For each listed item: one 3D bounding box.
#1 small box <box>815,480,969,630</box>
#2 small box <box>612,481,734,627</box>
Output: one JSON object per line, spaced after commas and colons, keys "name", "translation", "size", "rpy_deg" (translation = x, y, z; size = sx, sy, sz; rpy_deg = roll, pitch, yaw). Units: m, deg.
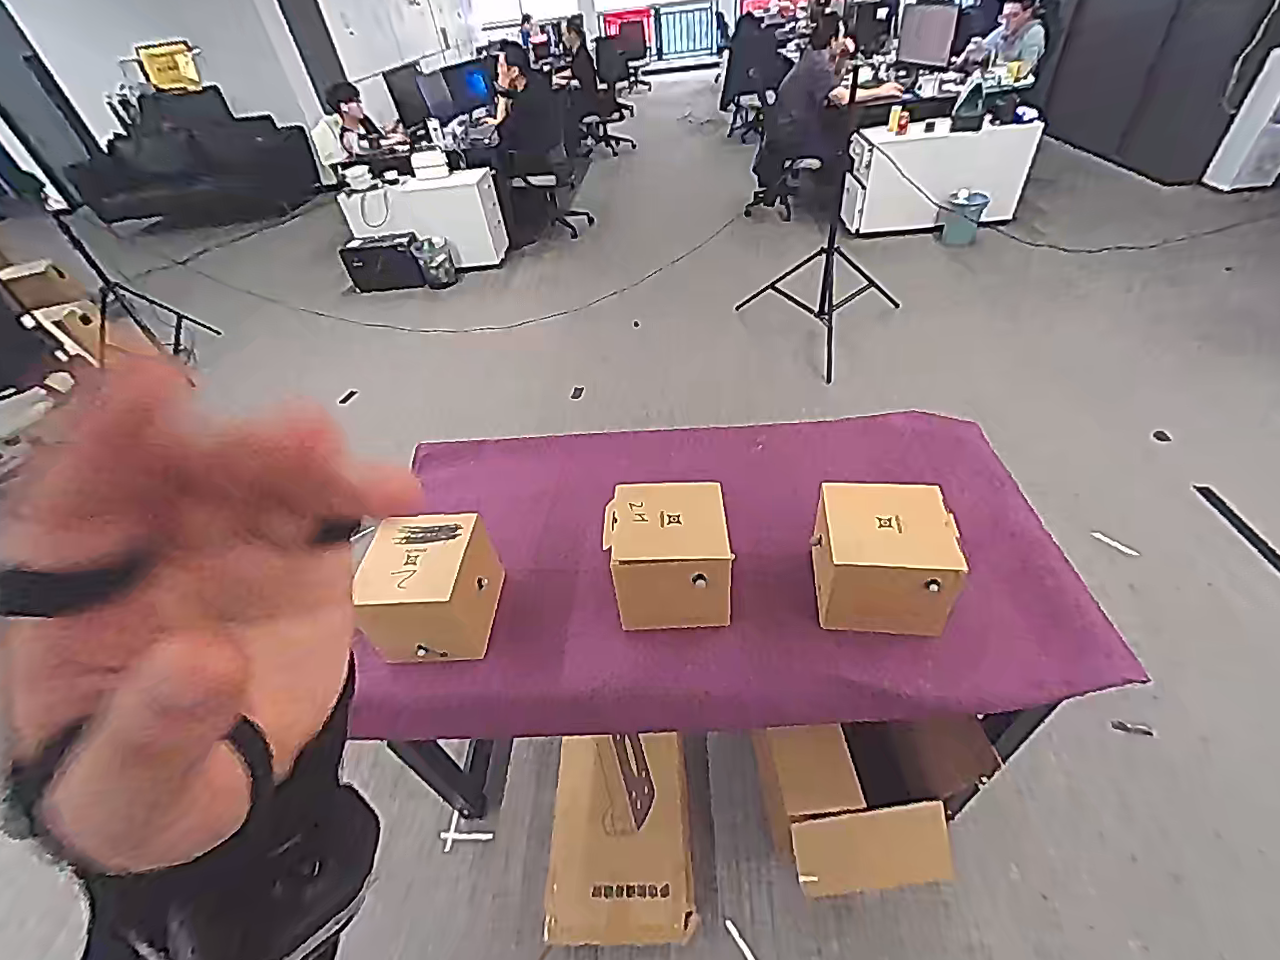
{"name": "small box", "translation": [0.371, 0.117, 0.838], "size": [0.179, 0.176, 0.168], "rpy_deg": [1, 43, 9]}
{"name": "small box", "translation": [0.055, 0.122, 0.879], "size": [0.179, 0.176, 0.168], "rpy_deg": [-4, 40, 4]}
